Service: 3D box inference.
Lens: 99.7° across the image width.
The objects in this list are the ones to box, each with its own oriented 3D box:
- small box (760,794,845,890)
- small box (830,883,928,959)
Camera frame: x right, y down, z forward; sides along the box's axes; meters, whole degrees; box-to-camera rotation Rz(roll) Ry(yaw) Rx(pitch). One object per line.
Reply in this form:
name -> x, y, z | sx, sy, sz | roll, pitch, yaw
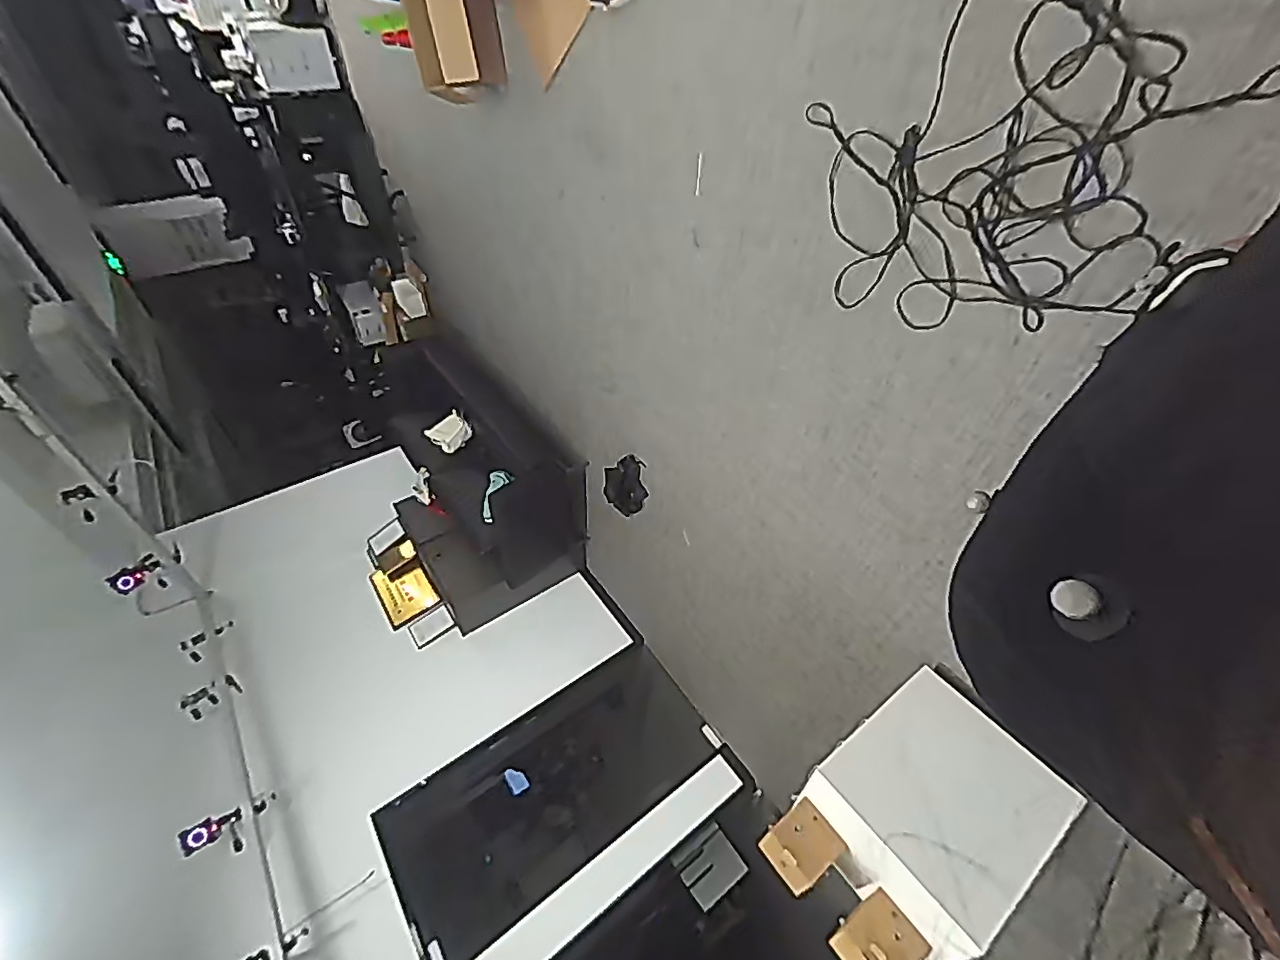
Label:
small box -> 0.501, 1.109, 1.665 | 0.168, 0.176, 0.179 | 45, 149, 34
small box -> 0.668, 1.283, 1.513 | 0.168, 0.176, 0.179 | 44, 146, 37
